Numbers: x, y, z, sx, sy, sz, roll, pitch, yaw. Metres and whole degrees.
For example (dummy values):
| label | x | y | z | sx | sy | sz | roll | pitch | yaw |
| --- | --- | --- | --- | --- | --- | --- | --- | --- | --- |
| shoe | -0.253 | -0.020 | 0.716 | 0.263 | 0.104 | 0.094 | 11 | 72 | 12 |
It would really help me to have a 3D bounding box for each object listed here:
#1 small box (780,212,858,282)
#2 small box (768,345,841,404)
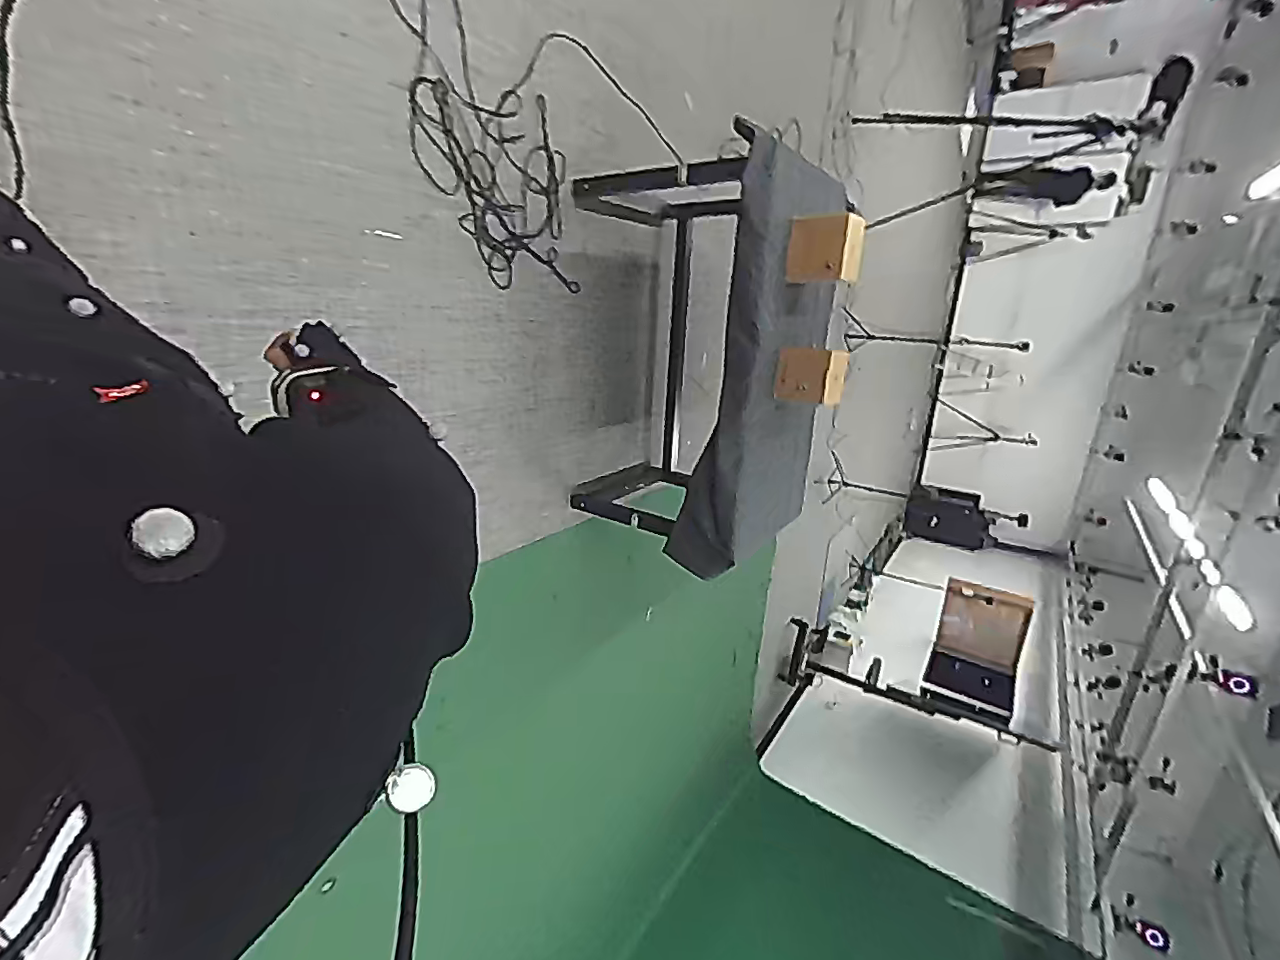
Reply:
| label | x | y | z | sx | sy | sz | roll | pitch | yaw |
| --- | --- | --- | --- | --- | --- | --- | --- | --- | --- |
| small box | 0.527 | -0.682 | 1.597 | 0.168 | 0.176 | 0.179 | -24 | 123 | -51 |
| small box | 0.524 | -0.339 | 1.729 | 0.179 | 0.176 | 0.168 | -17 | 117 | -54 |
